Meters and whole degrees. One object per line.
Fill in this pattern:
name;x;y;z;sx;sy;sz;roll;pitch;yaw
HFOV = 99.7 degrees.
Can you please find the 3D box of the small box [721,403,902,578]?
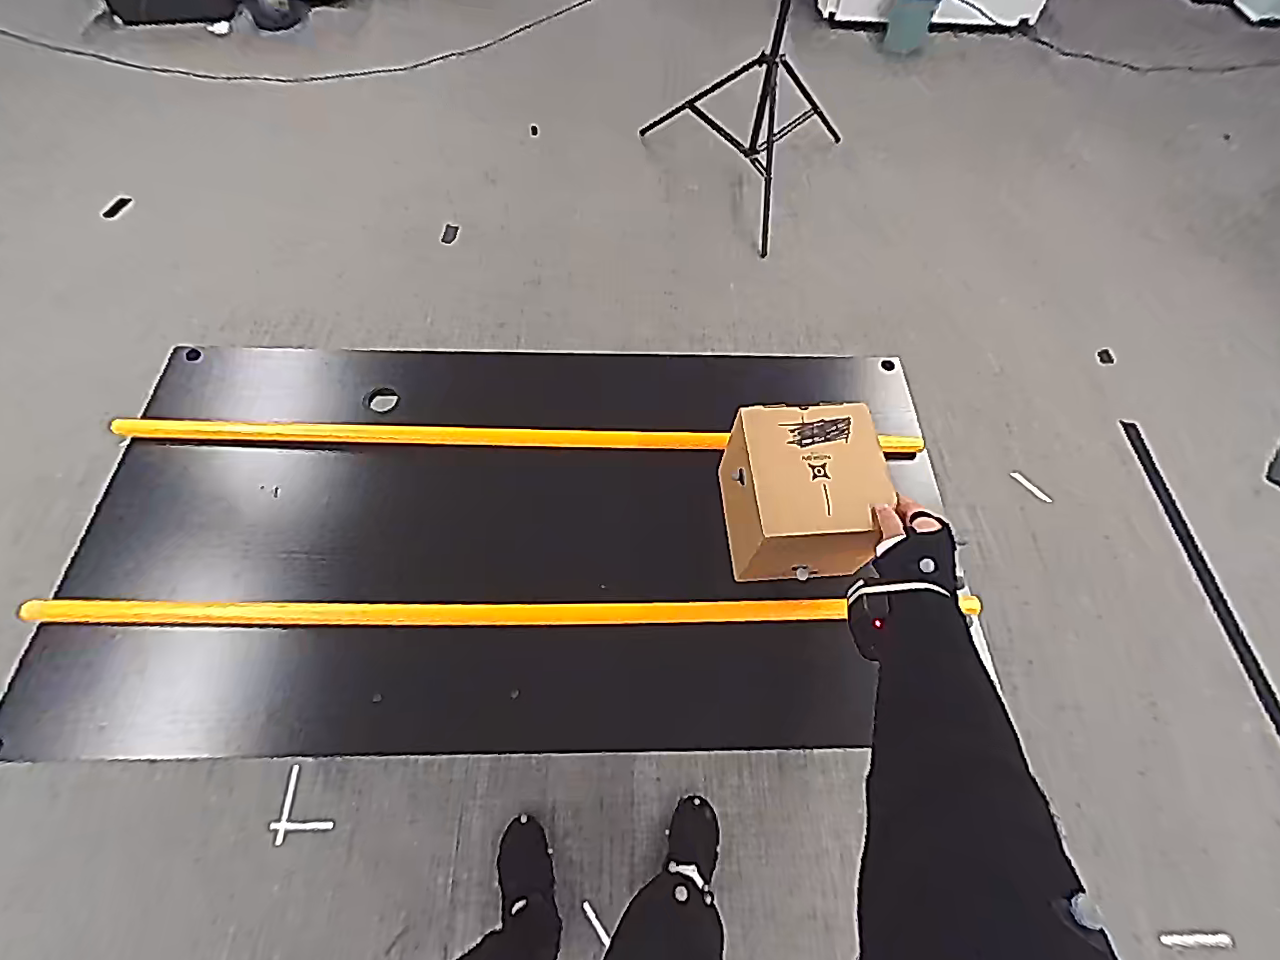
small box;0.209;0.018;0.718;0.168;0.176;0.179;-3;63;-3
